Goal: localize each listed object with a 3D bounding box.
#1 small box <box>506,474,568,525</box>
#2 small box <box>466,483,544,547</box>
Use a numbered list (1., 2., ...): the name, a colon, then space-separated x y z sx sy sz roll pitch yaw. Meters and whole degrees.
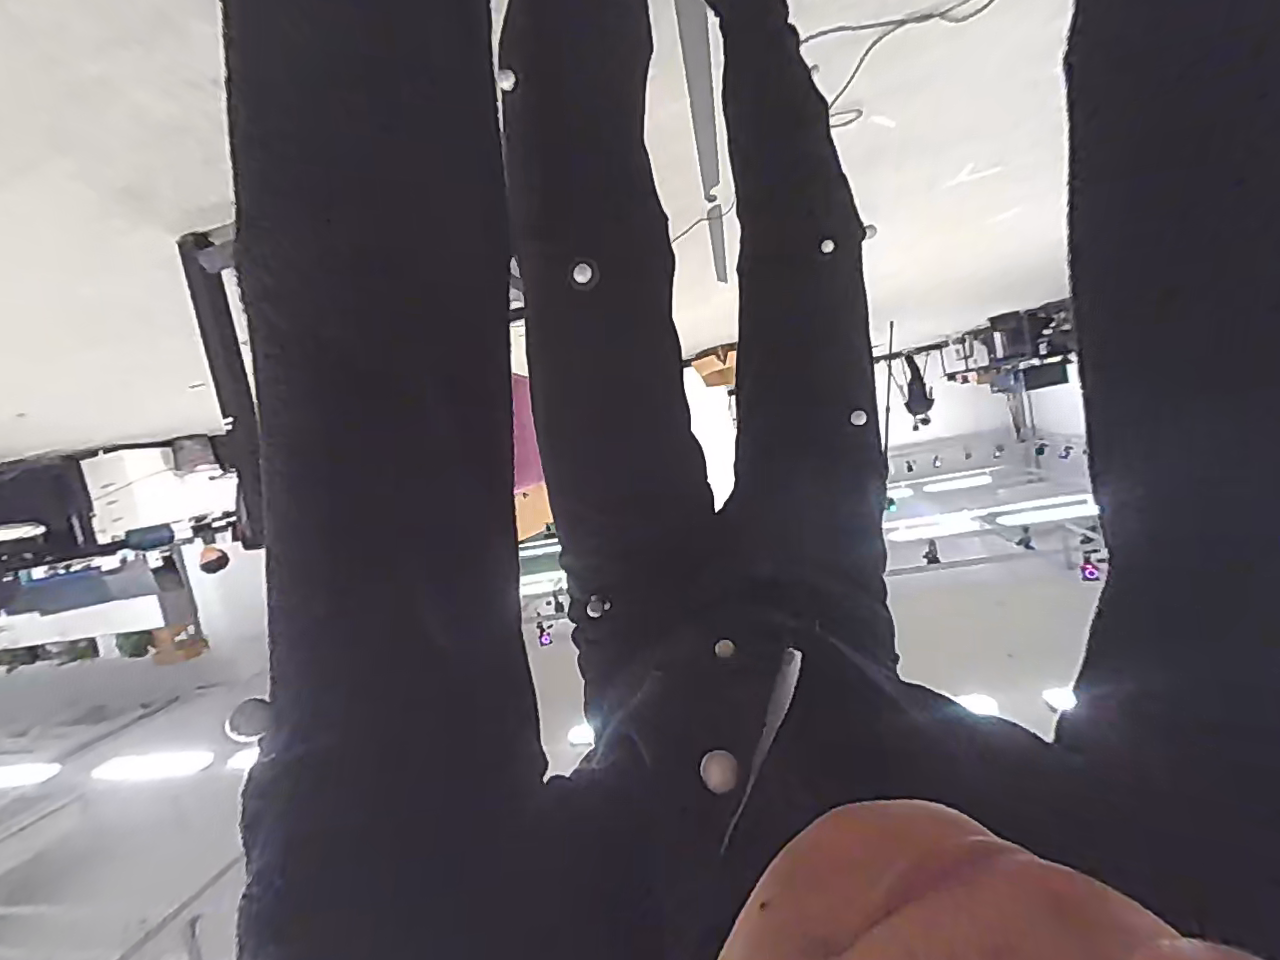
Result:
1. small box: -0.390 0.076 2.011 0.179 0.176 0.168 -11 -175 17
2. small box: -0.432 0.111 1.710 0.179 0.176 0.168 -10 -174 23
